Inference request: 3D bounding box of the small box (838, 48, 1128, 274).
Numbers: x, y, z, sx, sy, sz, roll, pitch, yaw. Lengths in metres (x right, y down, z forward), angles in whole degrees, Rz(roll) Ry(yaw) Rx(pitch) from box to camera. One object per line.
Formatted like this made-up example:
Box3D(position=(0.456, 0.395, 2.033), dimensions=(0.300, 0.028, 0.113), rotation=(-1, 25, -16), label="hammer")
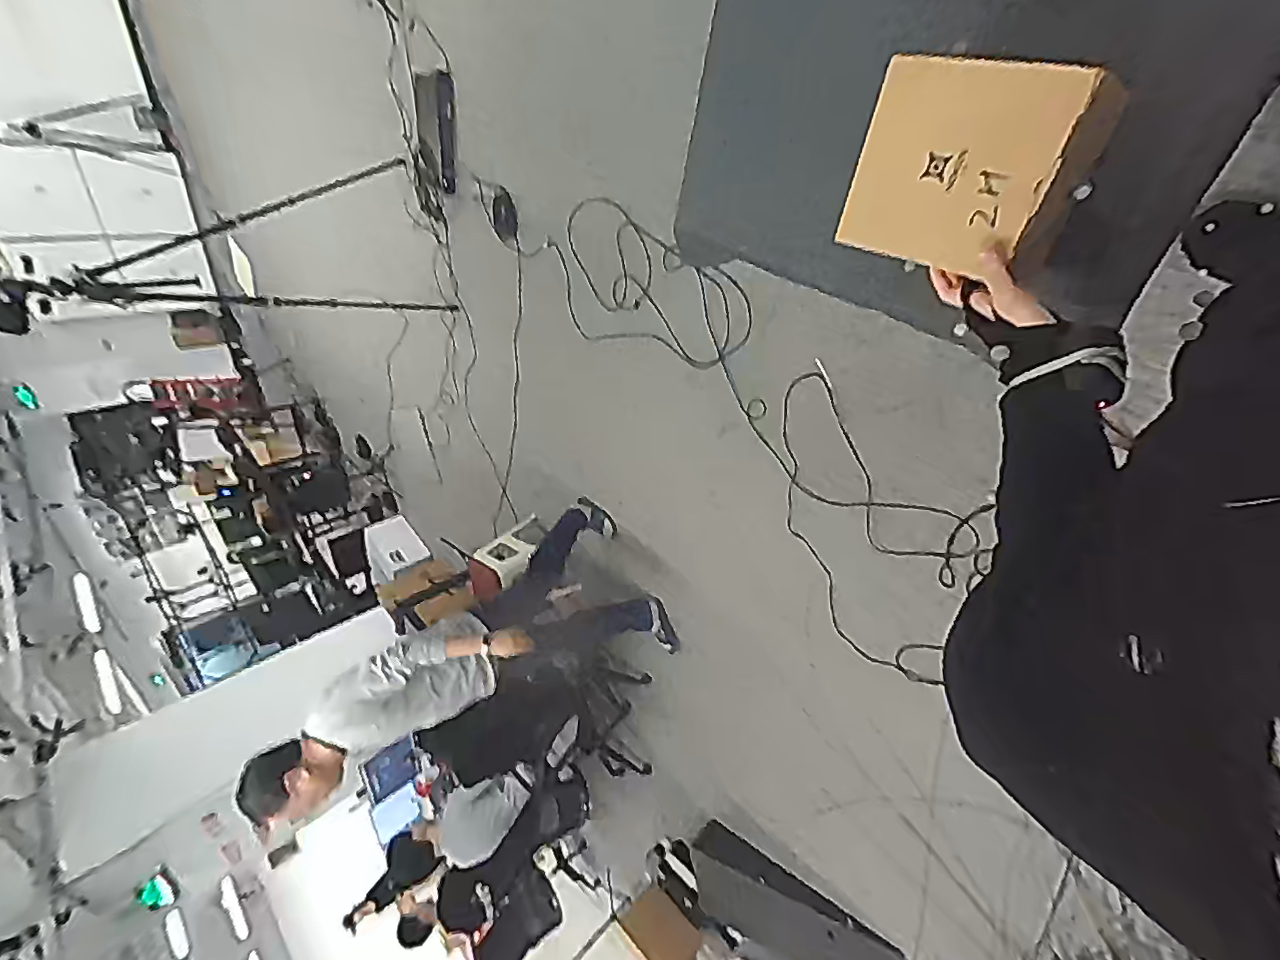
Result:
Box3D(position=(0.344, -0.322, 0.555), dimensions=(0.179, 0.176, 0.168), rotation=(34, 132, 33), label="small box")
